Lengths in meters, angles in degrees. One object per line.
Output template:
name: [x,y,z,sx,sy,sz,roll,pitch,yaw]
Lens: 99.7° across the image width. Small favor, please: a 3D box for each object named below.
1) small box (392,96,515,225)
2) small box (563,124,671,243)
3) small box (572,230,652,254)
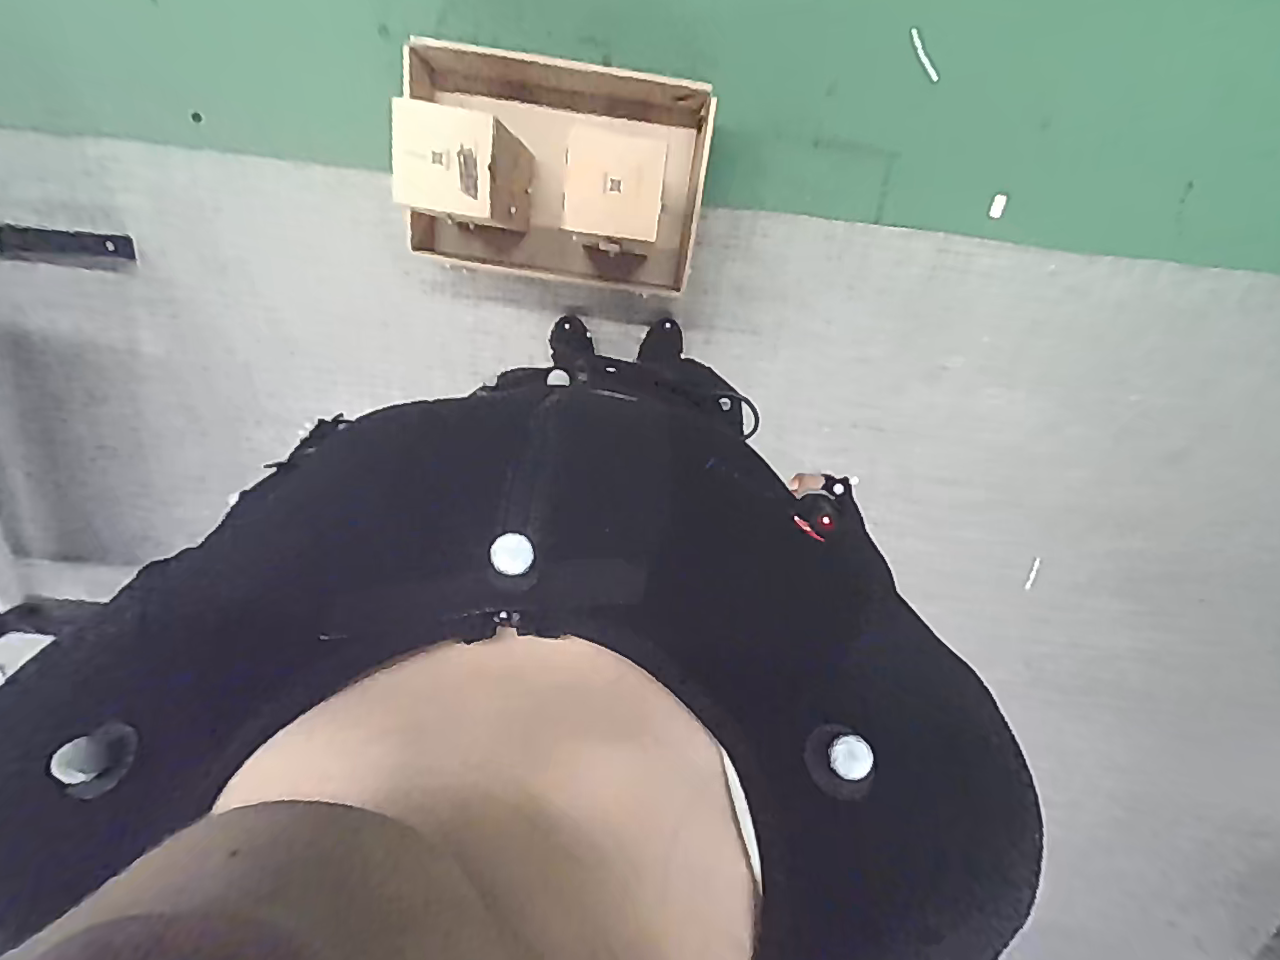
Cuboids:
small box: [-0.337,-0.578,1.001,0.179,0.176,0.168,8,110,-2]
small box: [-0.041,-0.544,1.015,0.179,0.176,0.168,6,112,-2]
small box: [-0.045,-0.594,1.170,0.168,0.176,0.179,9,111,-2]
